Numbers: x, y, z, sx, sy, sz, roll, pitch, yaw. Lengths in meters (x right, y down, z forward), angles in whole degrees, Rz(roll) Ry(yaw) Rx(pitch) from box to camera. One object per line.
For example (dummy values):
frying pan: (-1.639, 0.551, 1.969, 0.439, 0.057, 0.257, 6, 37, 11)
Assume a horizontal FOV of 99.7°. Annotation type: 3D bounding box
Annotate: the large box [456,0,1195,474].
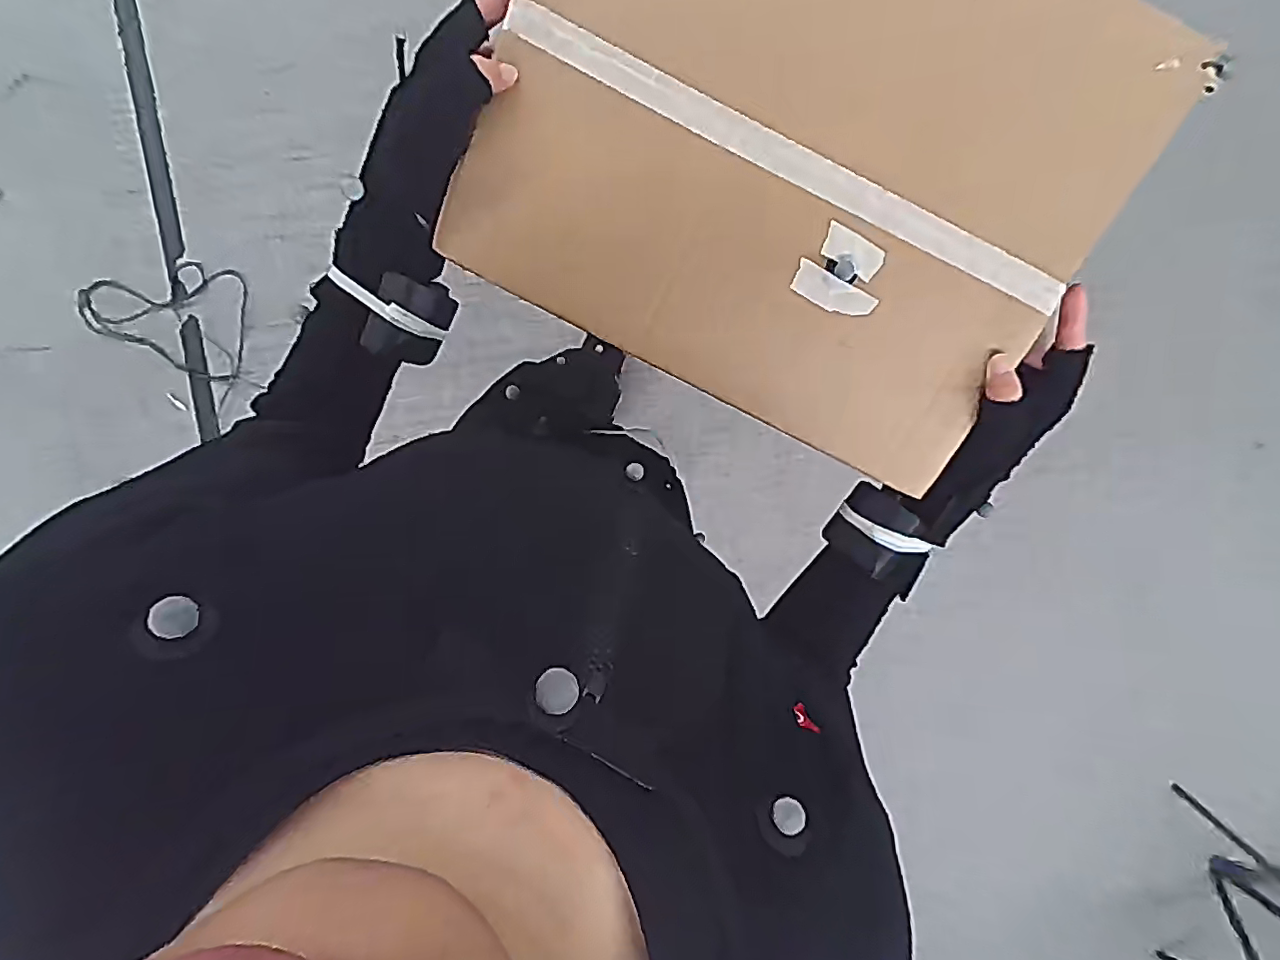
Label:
large box: (0.115, -0.259, 0.510, 0.408, 0.320, 0.320, 27, 108, -3)
